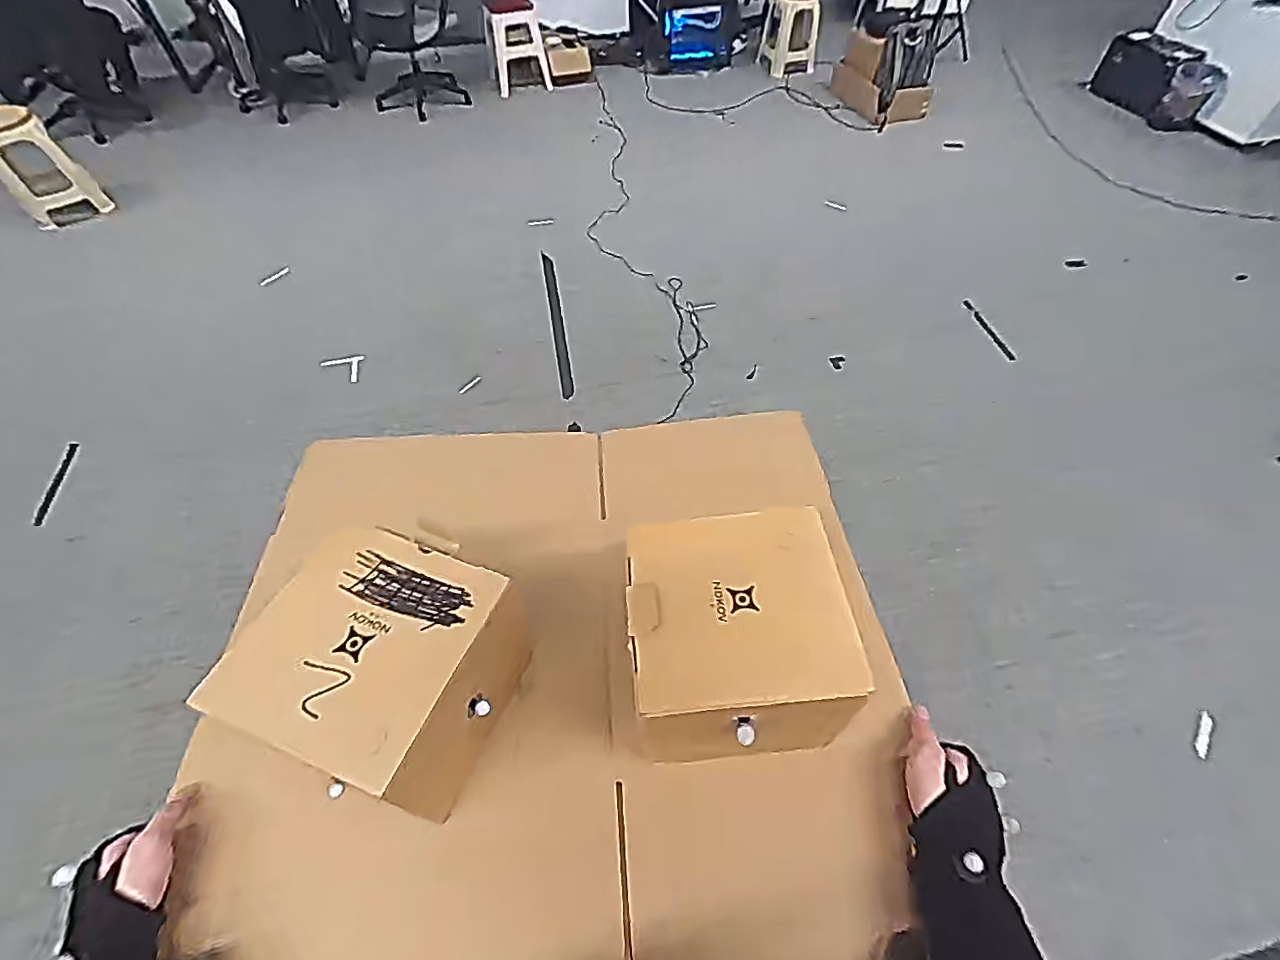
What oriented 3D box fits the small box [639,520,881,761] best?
[{"bbox_3d":[0.095,0.157,0.513,0.179,0.176,0.168,-6,52,2],"label":"small box"}]
